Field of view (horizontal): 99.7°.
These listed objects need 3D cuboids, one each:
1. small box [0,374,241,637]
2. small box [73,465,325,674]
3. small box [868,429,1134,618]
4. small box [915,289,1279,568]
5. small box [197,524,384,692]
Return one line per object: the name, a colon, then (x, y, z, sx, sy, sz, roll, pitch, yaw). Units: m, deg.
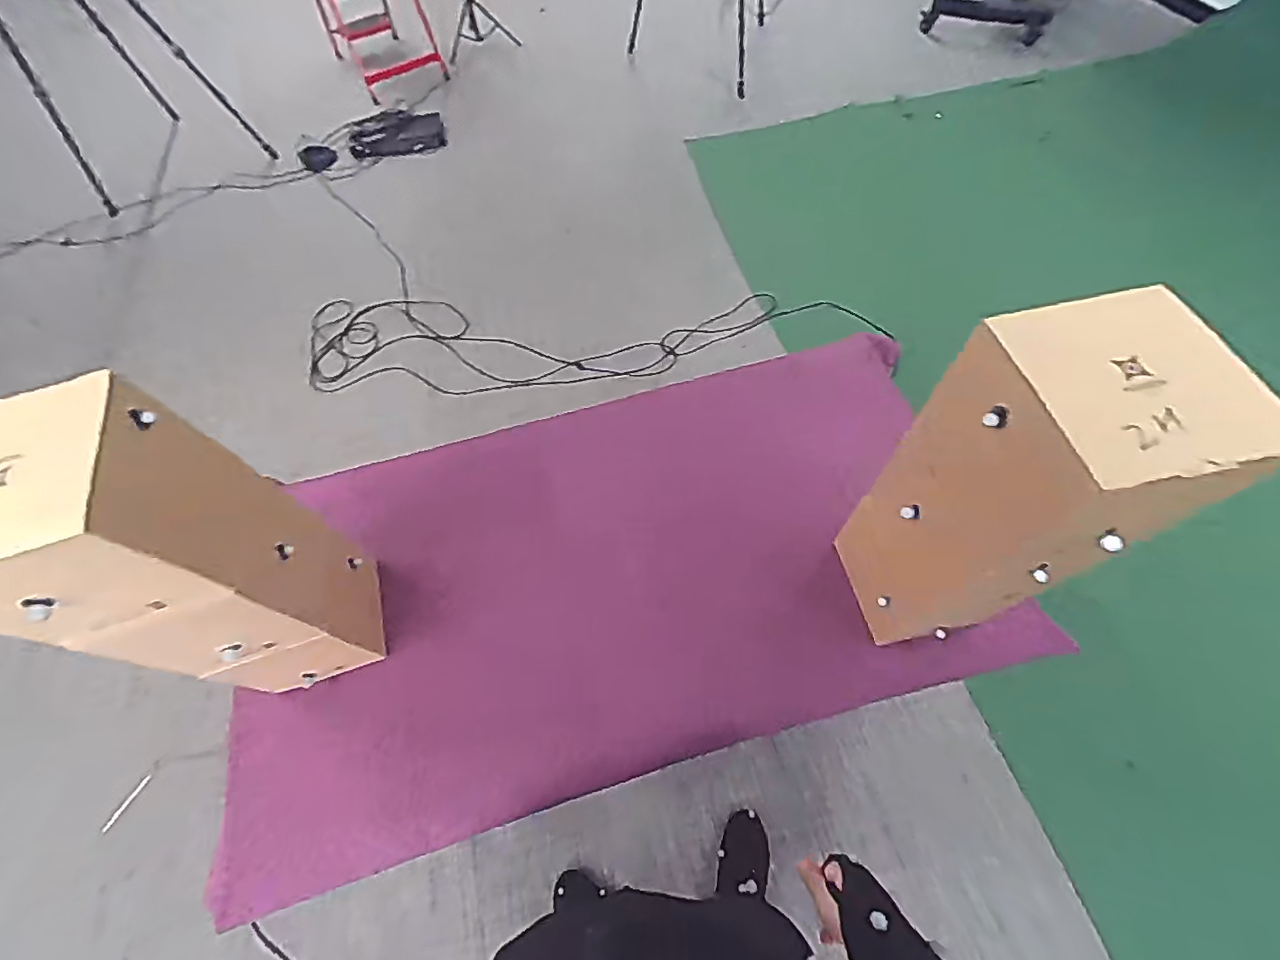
small box: (-0.521, 0.037, 0.516, 0.168, 0.176, 0.179, -19, 61, -6)
small box: (-0.512, 0.114, 0.658, 0.168, 0.176, 0.179, -18, 62, -6)
small box: (0.397, 0.042, 0.638, 0.168, 0.176, 0.179, -12, 60, -2)
small box: (0.388, -0.040, 0.495, 0.168, 0.176, 0.179, -11, 61, -1)
small box: (-0.503, 0.194, 0.801, 0.168, 0.176, 0.179, -18, 62, -6)
